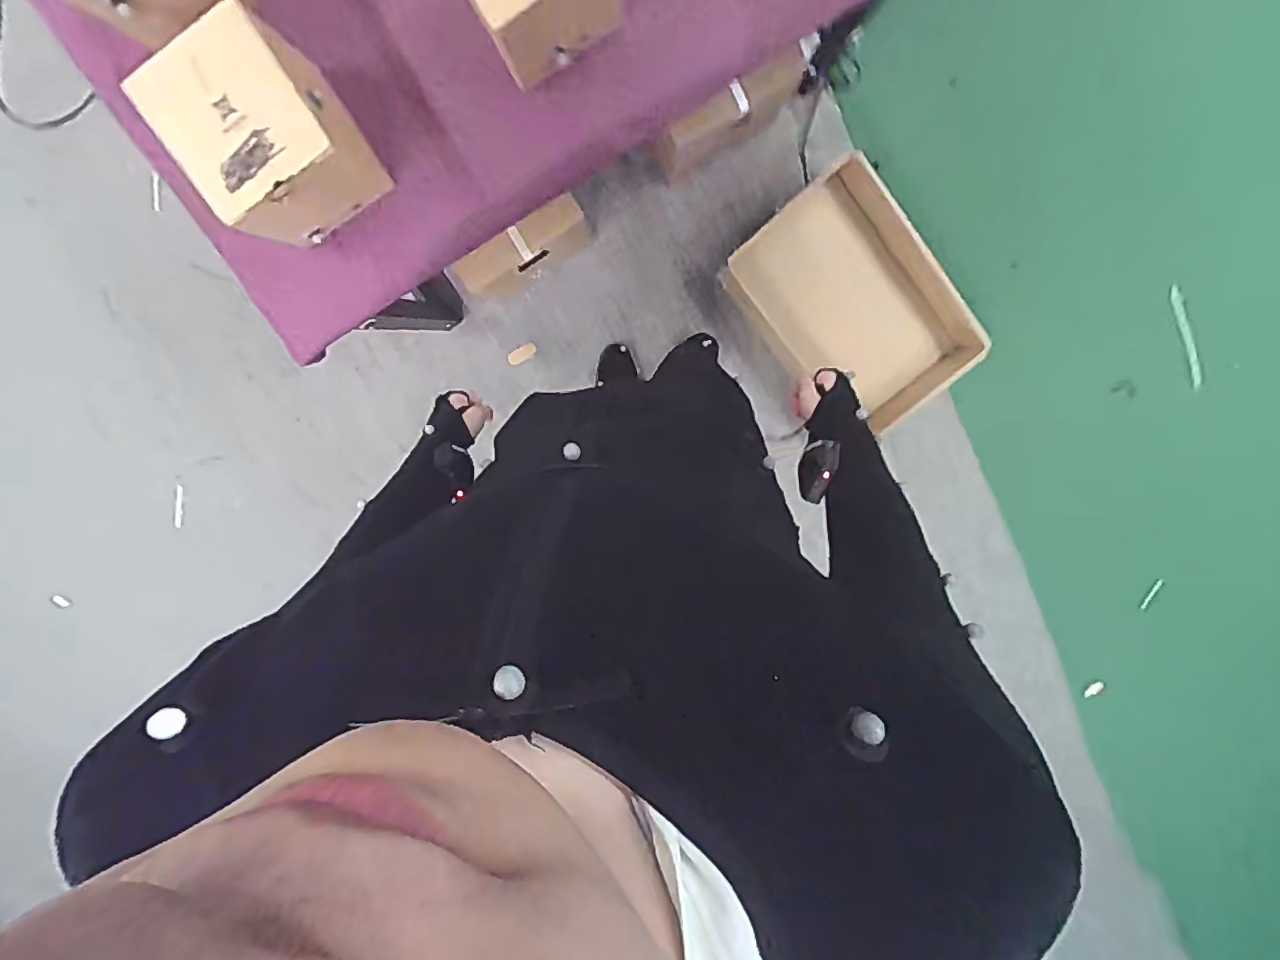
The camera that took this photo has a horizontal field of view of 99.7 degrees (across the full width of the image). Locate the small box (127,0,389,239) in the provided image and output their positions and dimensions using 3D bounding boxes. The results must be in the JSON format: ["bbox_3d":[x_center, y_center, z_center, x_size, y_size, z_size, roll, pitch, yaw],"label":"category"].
[{"bbox_3d":[-0.463,-0.433,0.690,0.168,0.176,0.179,-31,102,7],"label":"small box"}]

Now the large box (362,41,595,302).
[{"bbox_3d":[-0.354,-0.697,1.306,0.320,0.320,0.408,-32,102,7],"label":"large box"}]

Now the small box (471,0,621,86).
[{"bbox_3d":[-0.136,-0.628,0.642,0.168,0.176,0.179,-30,103,8],"label":"small box"}]
